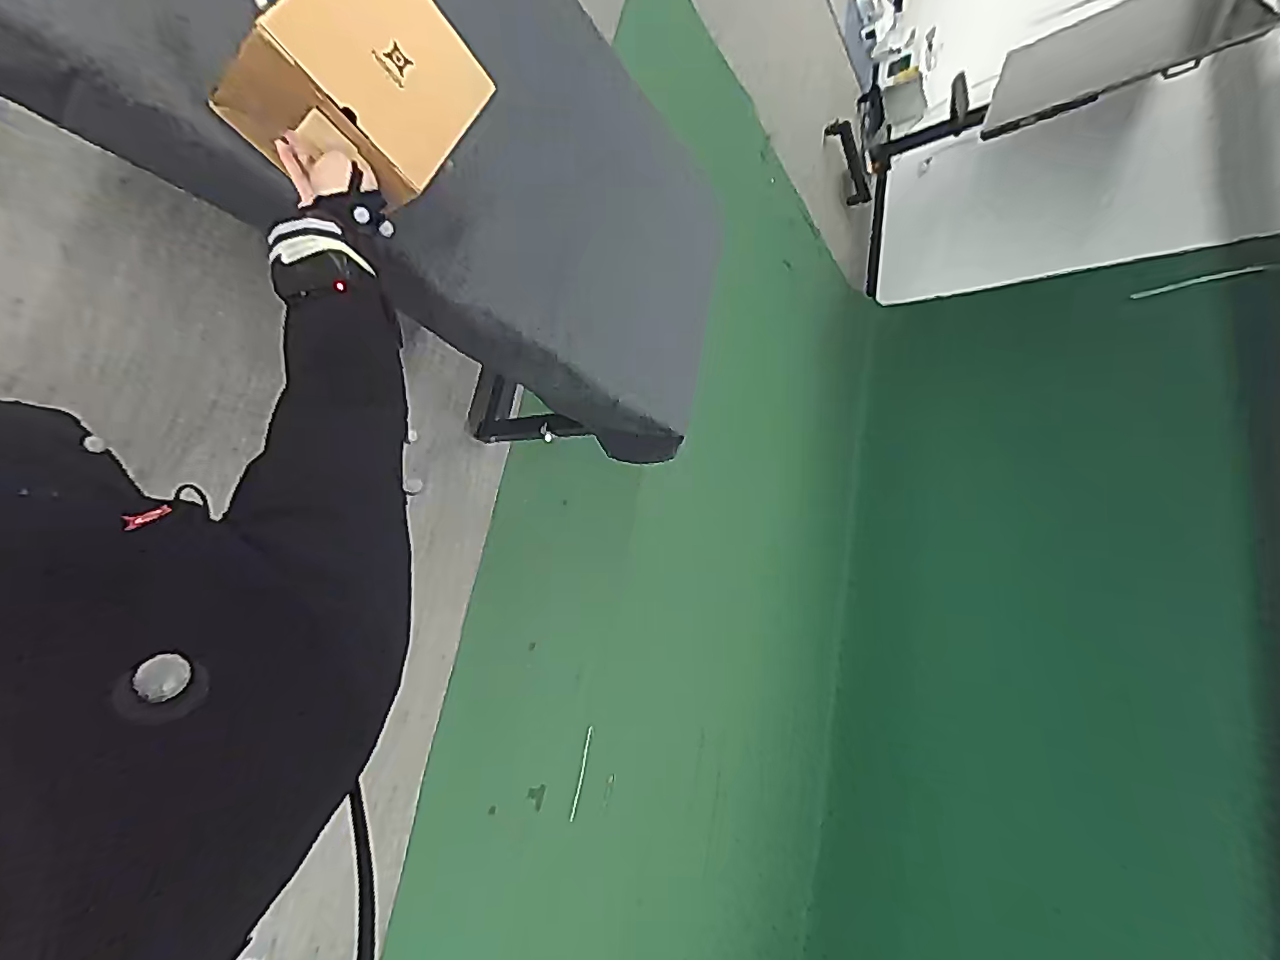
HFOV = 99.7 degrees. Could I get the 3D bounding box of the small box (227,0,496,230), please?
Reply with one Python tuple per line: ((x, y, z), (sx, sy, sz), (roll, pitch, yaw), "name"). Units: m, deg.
((-0.298, -0.408, 0.585), (0.168, 0.176, 0.179), (44, 62, -44), "small box")
